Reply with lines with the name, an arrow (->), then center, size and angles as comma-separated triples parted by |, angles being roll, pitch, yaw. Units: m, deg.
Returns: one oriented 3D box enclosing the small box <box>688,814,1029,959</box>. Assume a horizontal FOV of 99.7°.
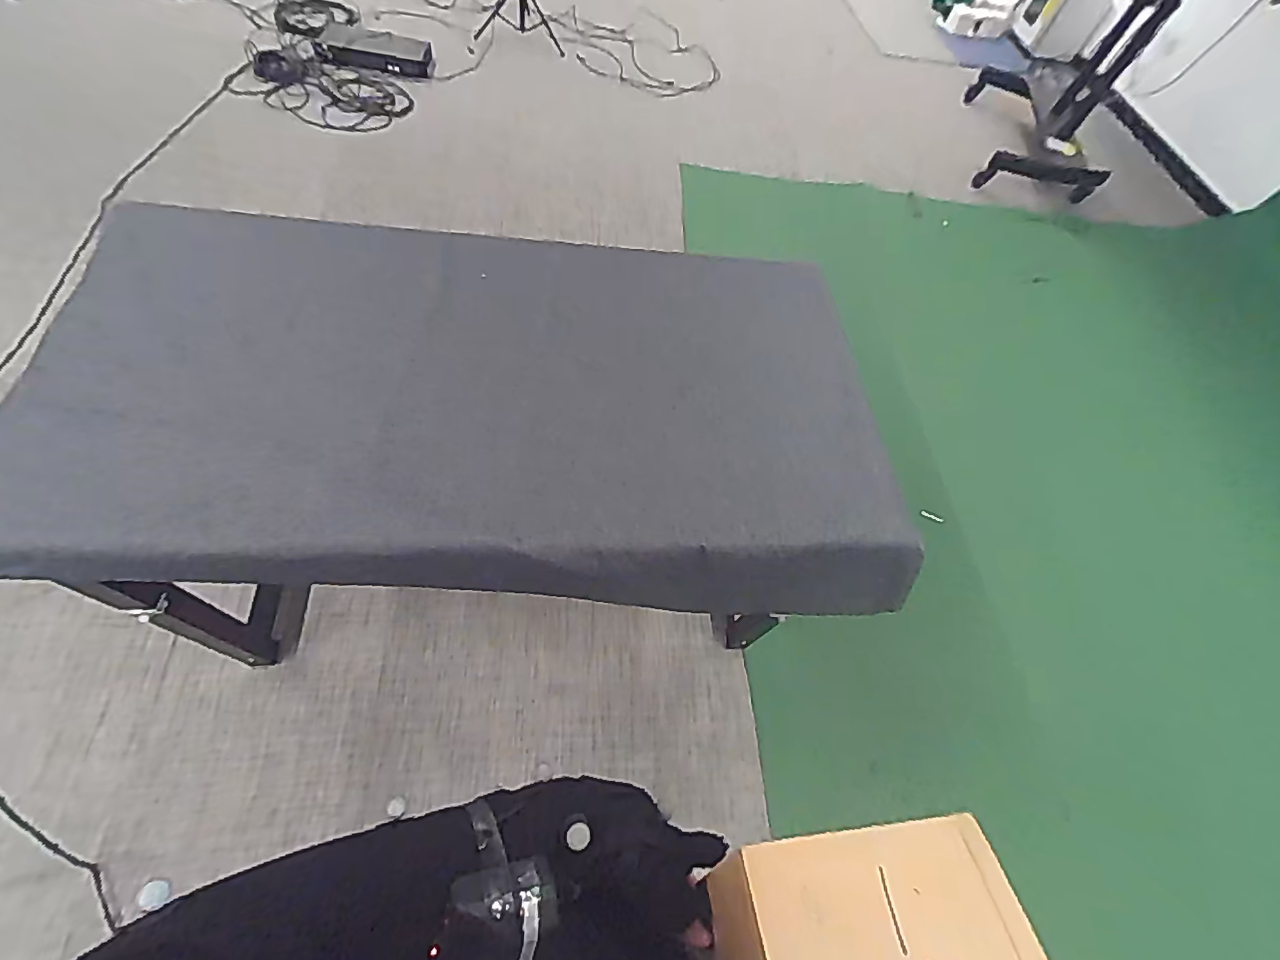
small box -> 0.137, 0.344, 0.349 | 0.168, 0.176, 0.179 | 0, 45, -11
